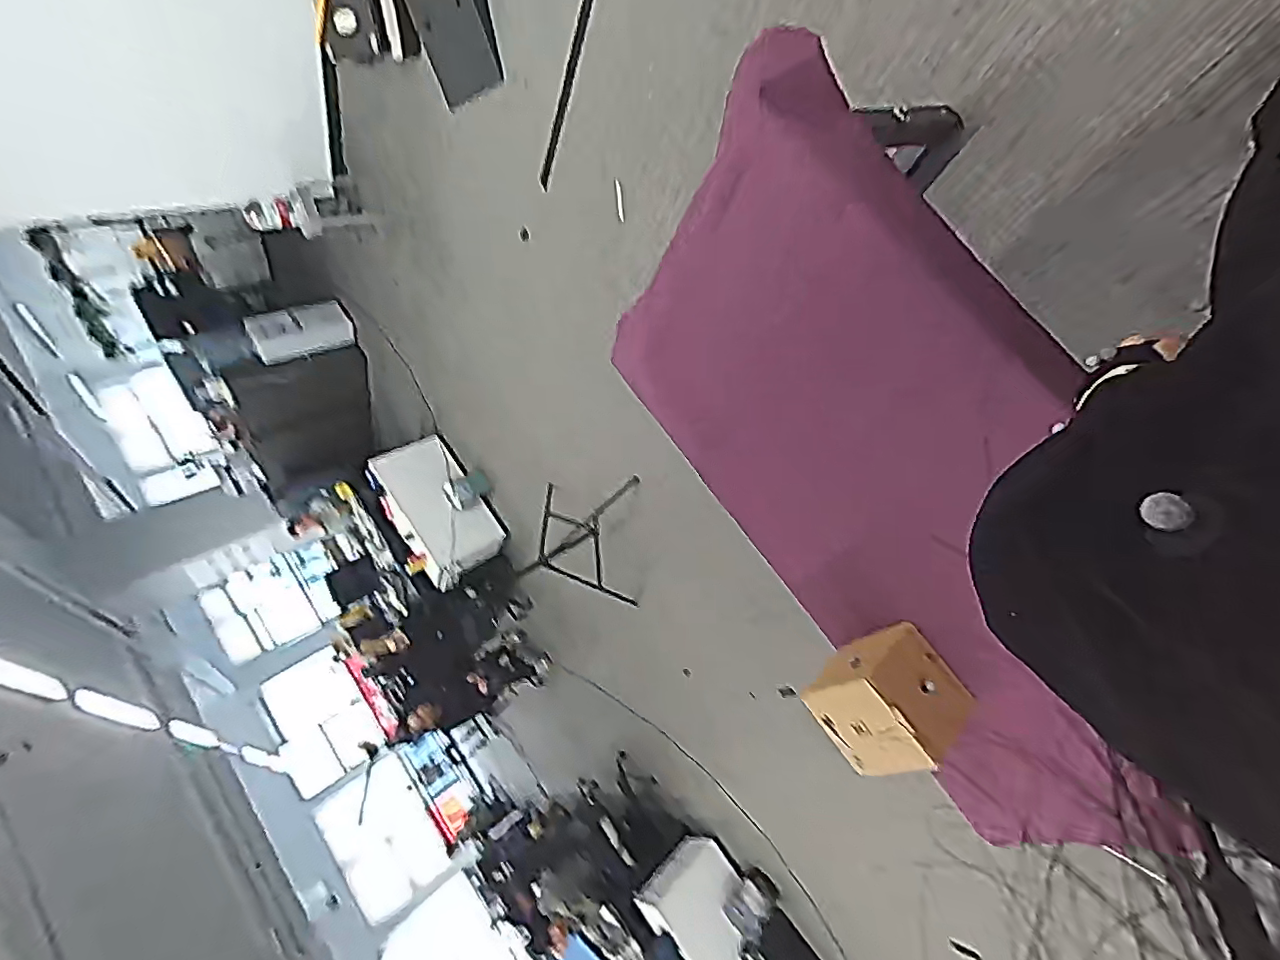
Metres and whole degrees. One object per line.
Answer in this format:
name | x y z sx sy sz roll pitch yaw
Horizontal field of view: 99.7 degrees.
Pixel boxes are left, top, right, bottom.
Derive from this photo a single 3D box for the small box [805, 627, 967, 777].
small box | 0.433 0.383 0.943 0.168 0.176 0.179 53 143 12
